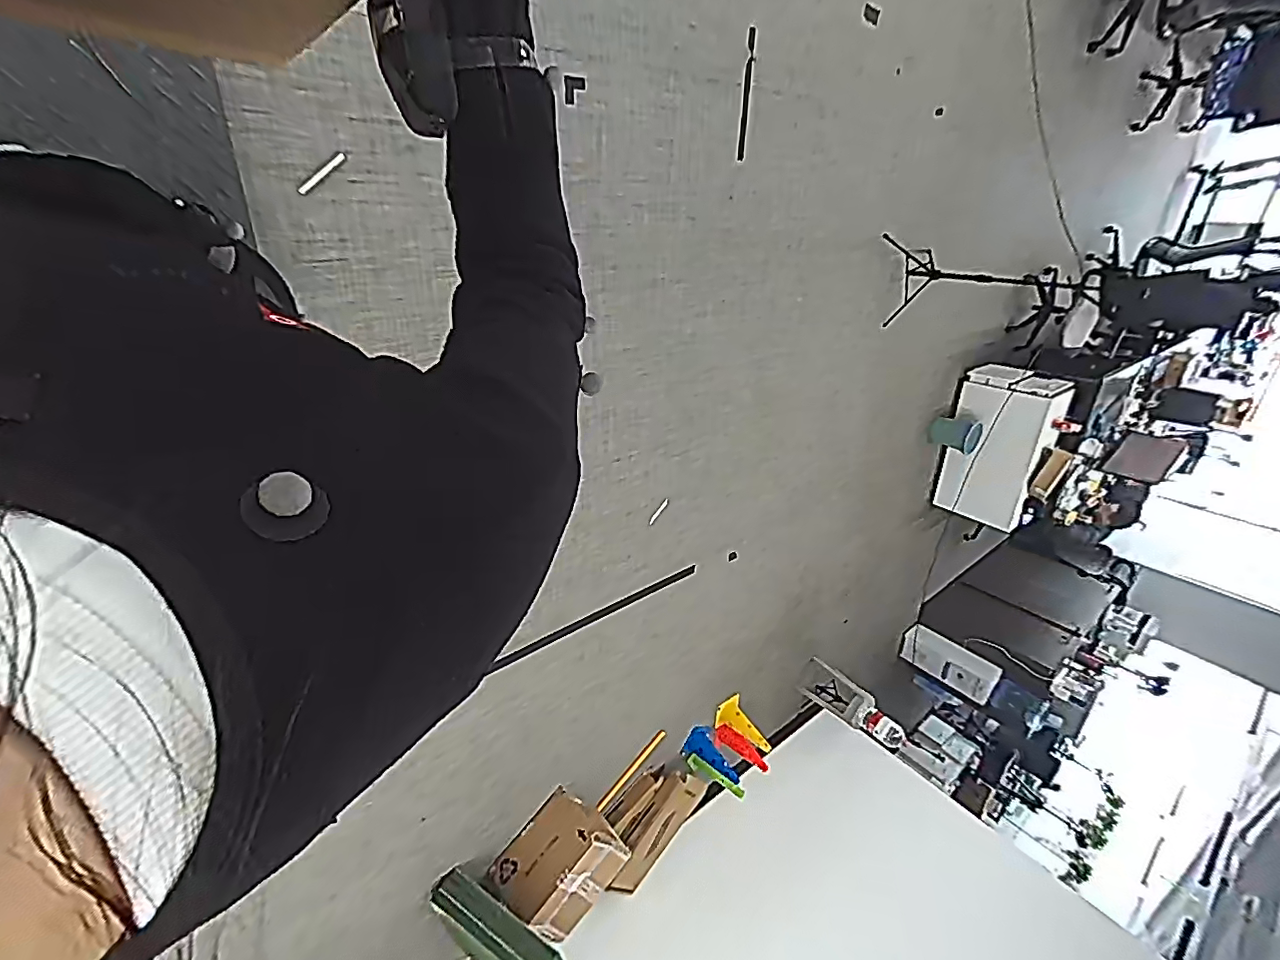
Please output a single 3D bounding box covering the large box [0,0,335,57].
[{"bbox_3d":[-0.373,-0.408,0.200,0.408,0.320,0.320,-17,124,-37],"label":"large box"}]
